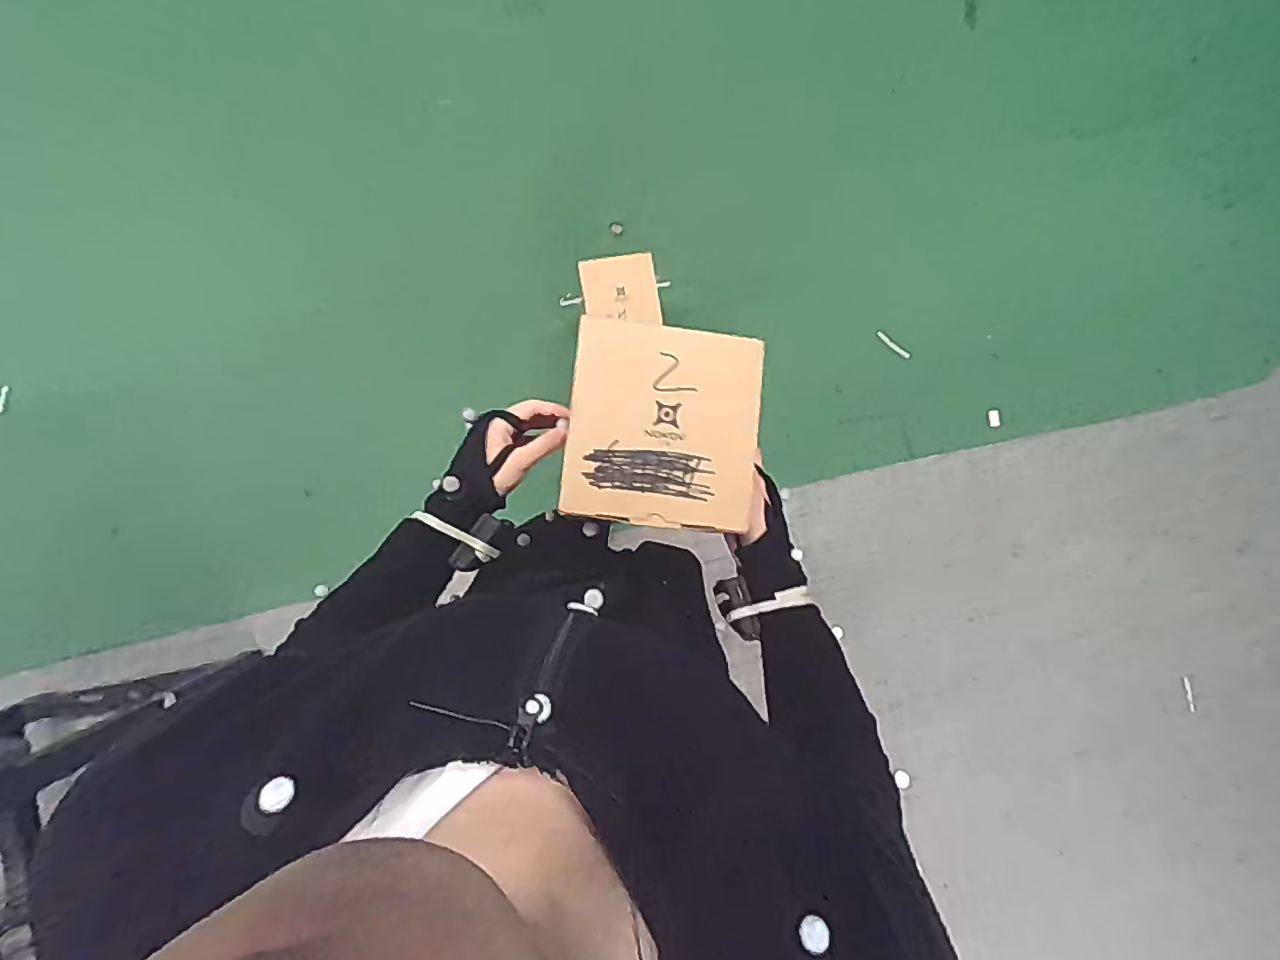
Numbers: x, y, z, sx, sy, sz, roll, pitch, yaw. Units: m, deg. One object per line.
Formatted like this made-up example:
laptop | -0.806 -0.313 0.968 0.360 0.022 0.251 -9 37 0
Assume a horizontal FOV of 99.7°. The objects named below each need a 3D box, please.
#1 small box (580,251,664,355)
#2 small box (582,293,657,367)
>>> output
small box | -0.046 -0.409 1.271 0.168 0.176 0.179 -9 90 -3
small box | -0.054 -0.408 1.436 0.168 0.176 0.179 -12 90 -4
